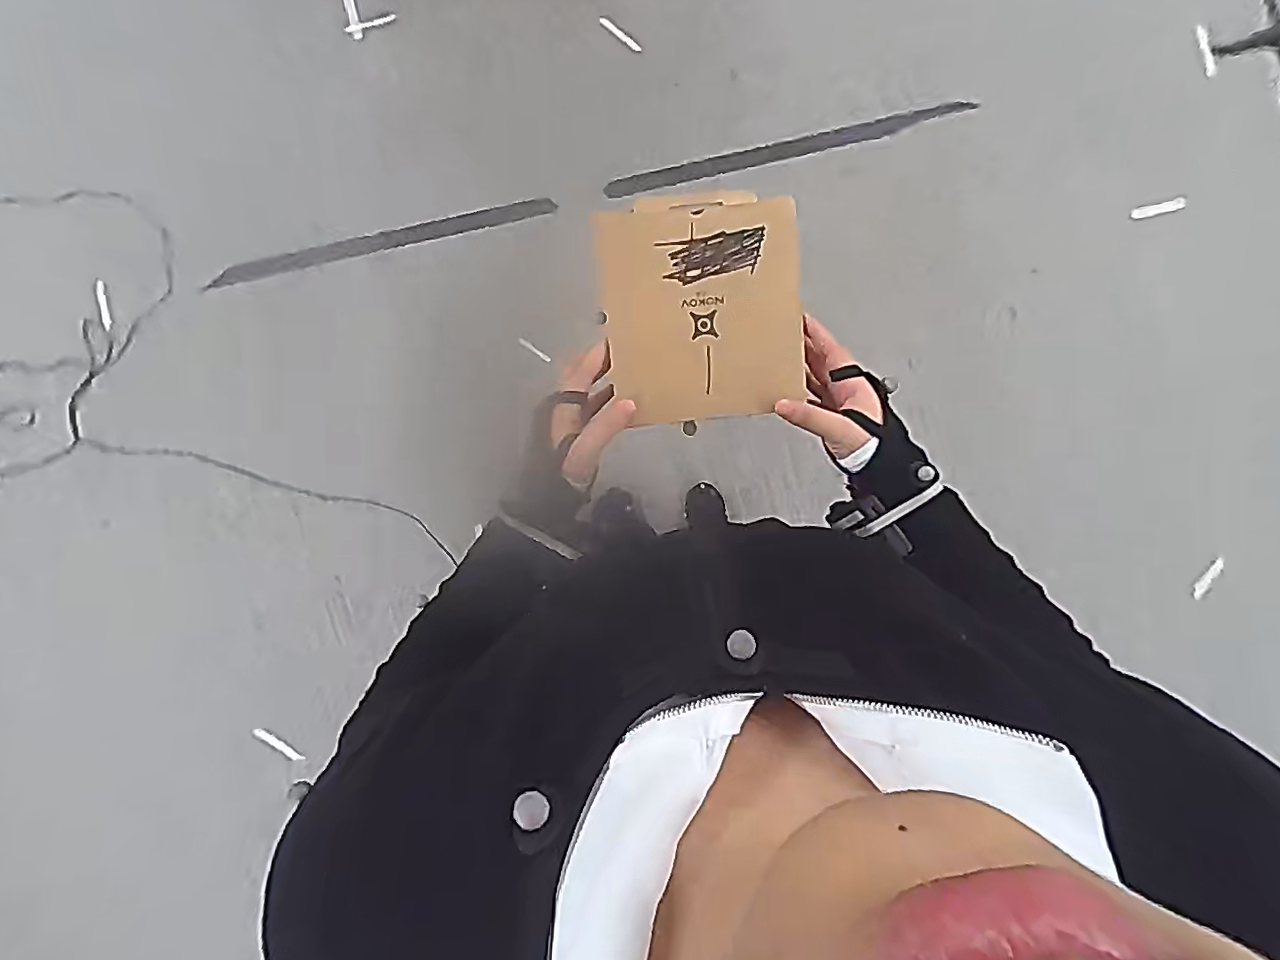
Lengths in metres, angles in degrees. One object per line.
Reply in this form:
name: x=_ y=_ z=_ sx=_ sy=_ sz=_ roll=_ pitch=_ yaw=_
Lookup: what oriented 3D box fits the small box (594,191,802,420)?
small box: x=0.047 y=-0.154 z=0.533 sx=0.168 sy=0.176 sz=0.179 roll=-7 pitch=97 yaw=-1
